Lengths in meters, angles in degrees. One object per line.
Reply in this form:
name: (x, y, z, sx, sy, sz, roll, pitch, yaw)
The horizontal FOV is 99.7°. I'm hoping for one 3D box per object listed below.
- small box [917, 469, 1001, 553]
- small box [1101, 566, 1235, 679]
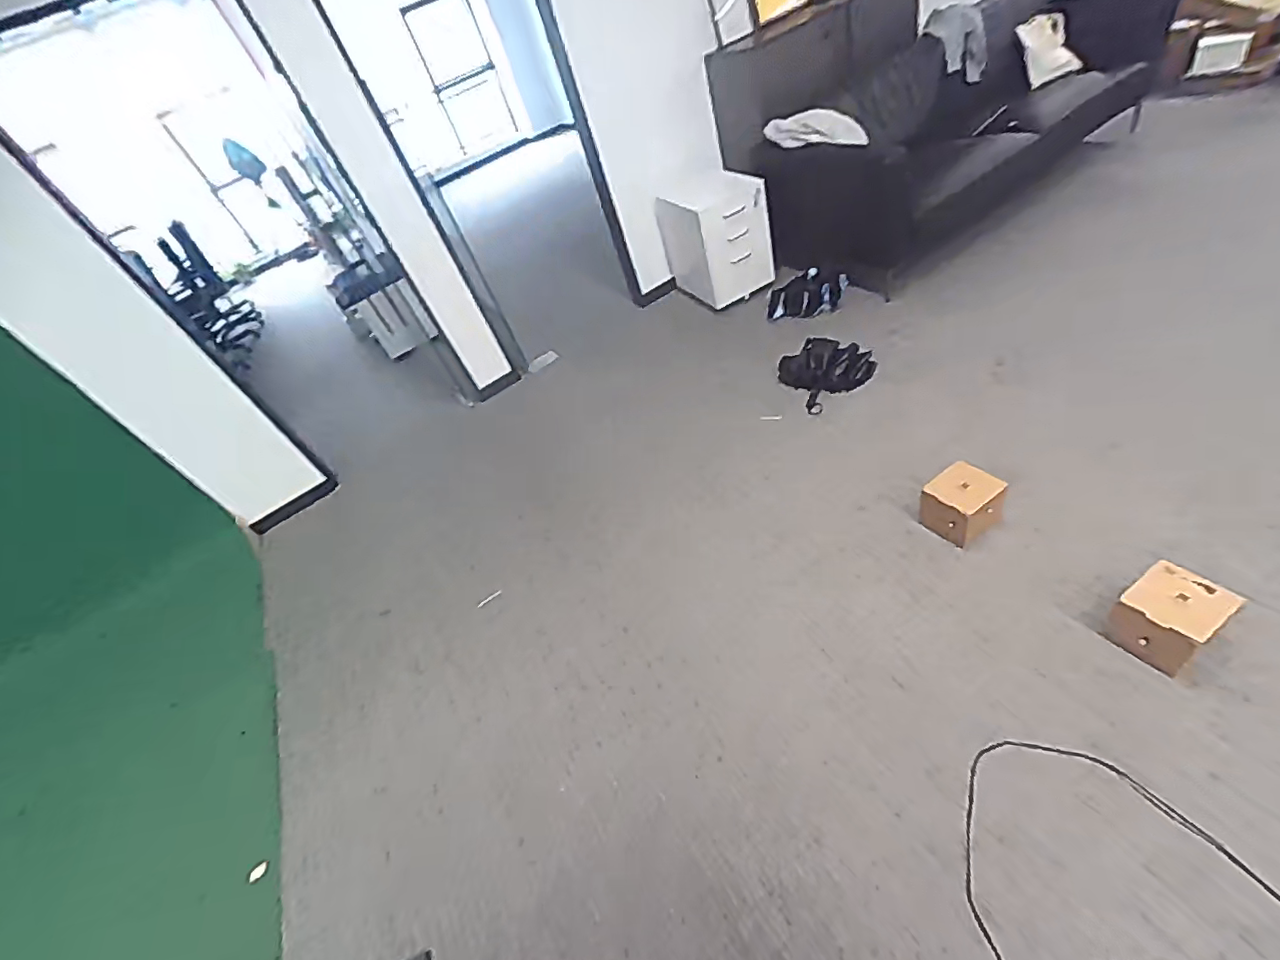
small box: (1.018, 0.104, 1.739, 0.179, 0.176, 0.168, -33, 43, -15)
small box: (1.293, 0.355, 1.339, 0.179, 0.176, 0.168, -34, 41, -12)
